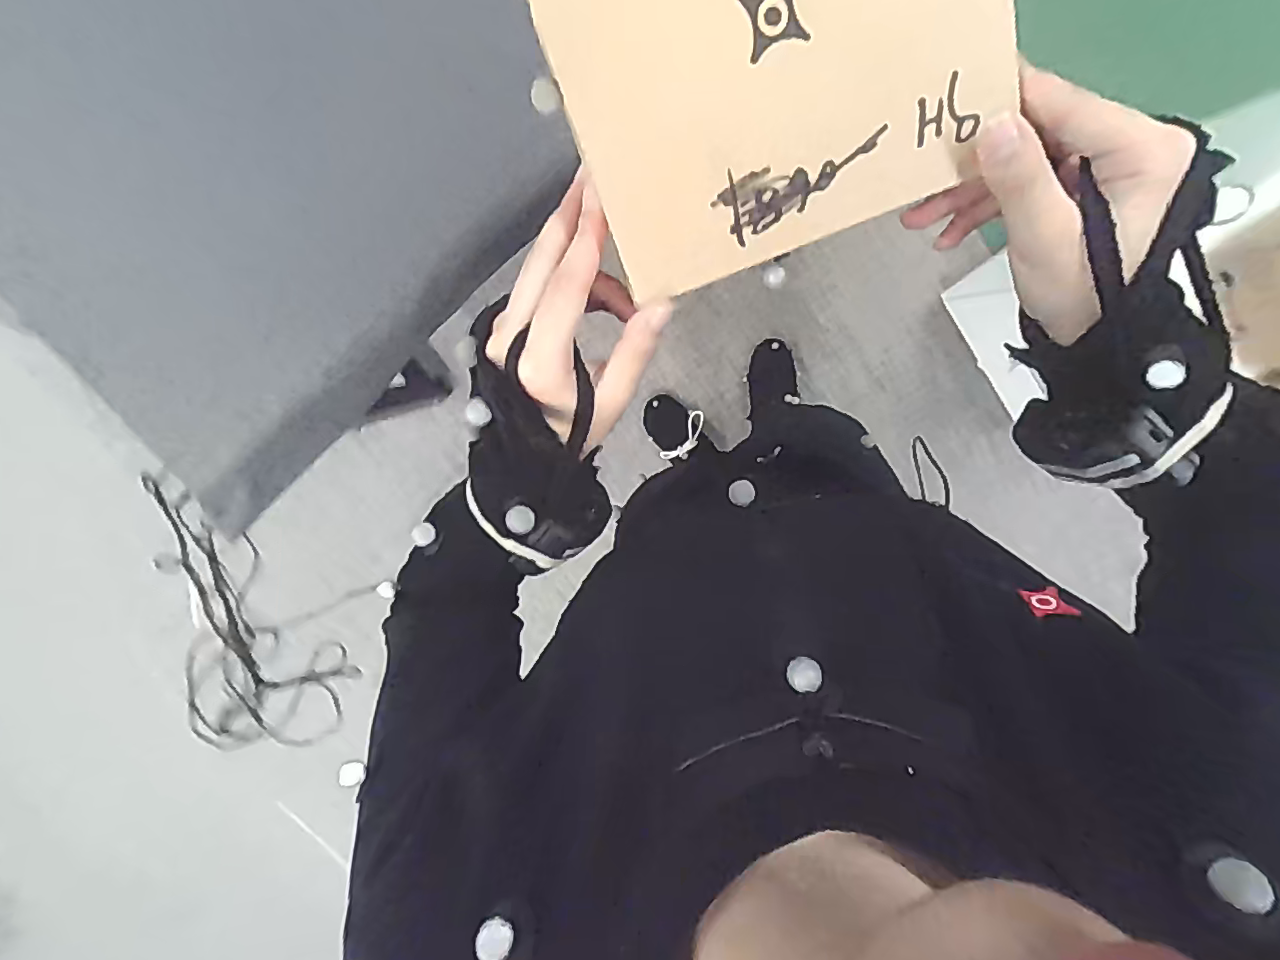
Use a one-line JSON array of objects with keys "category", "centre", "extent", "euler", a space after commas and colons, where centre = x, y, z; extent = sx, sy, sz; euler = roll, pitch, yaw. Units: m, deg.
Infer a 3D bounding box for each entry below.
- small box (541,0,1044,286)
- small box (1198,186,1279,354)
[{"category": "small box", "centre": [0.049, -0.205, 0.263], "extent": [0.168, 0.176, 0.179], "euler": [-19, 110, 4]}, {"category": "small box", "centre": [0.785, -0.250, 0.594], "extent": [0.179, 0.176, 0.168], "euler": [-36, 102, 9]}]
